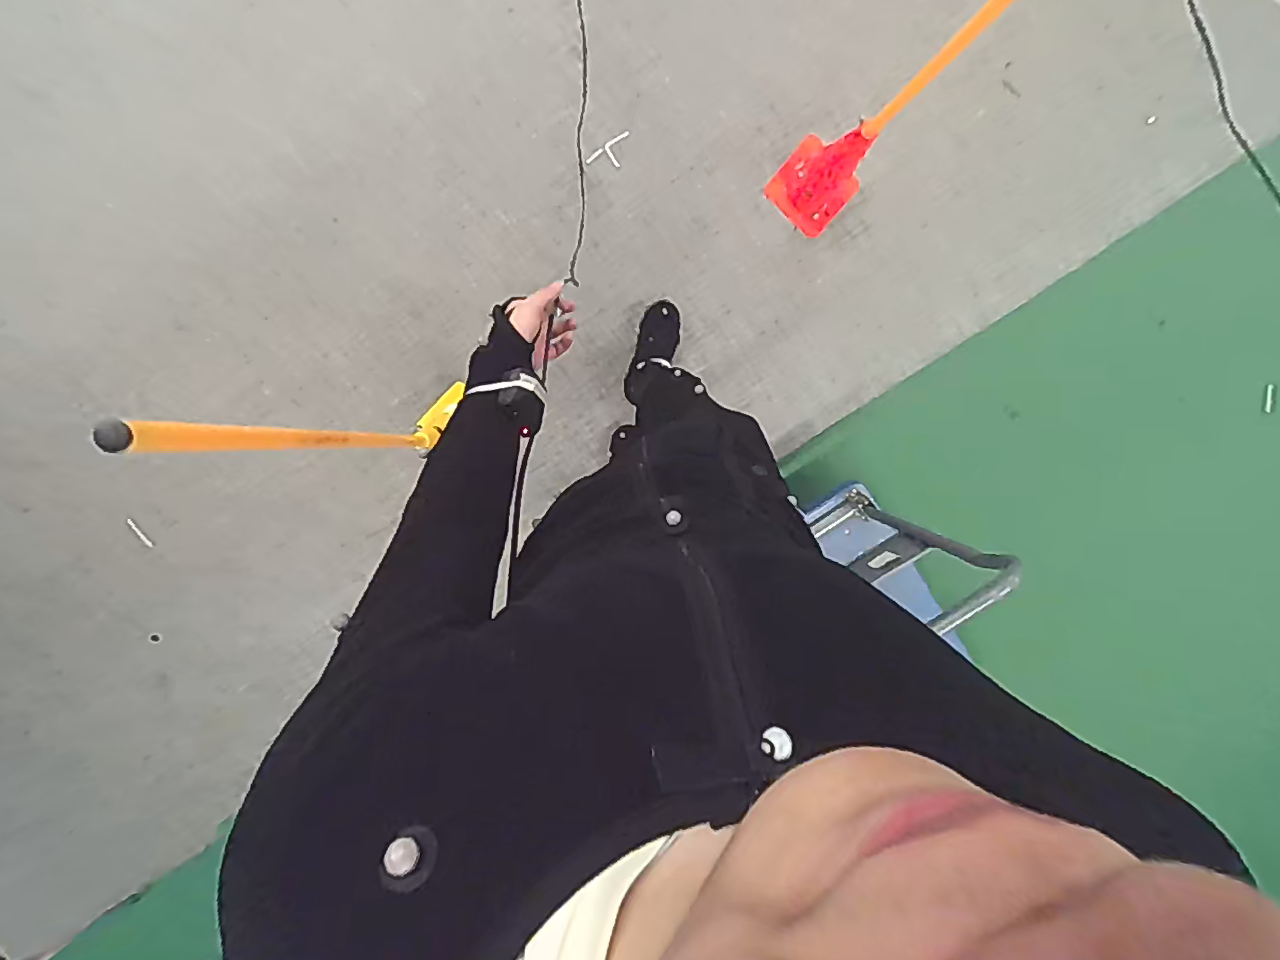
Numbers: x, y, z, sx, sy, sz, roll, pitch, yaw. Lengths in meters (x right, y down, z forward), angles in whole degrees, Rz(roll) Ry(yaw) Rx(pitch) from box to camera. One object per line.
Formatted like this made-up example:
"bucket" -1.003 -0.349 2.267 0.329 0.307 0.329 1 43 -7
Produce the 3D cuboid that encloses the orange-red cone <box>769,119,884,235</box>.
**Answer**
"orange-red cone" 0.485 -0.771 1.304 0.198 0.360 0.199 41 95 -9
